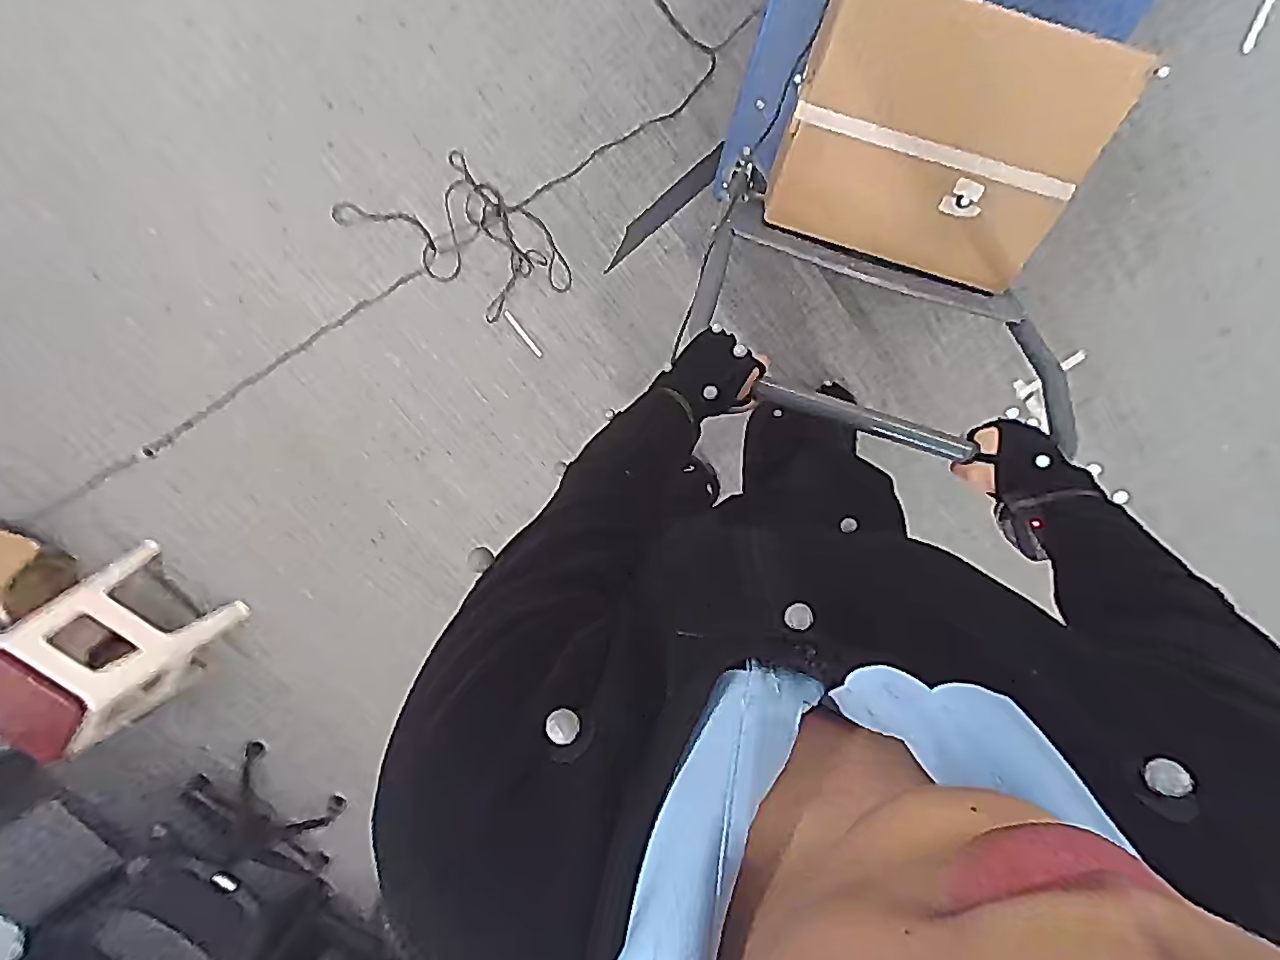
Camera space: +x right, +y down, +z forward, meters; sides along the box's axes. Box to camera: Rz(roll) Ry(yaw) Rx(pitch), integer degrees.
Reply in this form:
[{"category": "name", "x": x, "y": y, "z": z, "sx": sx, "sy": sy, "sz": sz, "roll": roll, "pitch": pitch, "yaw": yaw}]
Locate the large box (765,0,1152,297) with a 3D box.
[{"category": "large box", "x": 0.447, "y": -0.552, "z": 0.887, "sx": 0.408, "sy": 0.320, "sz": 0.320, "roll": 17, "pitch": 131, "yaw": -1}]
